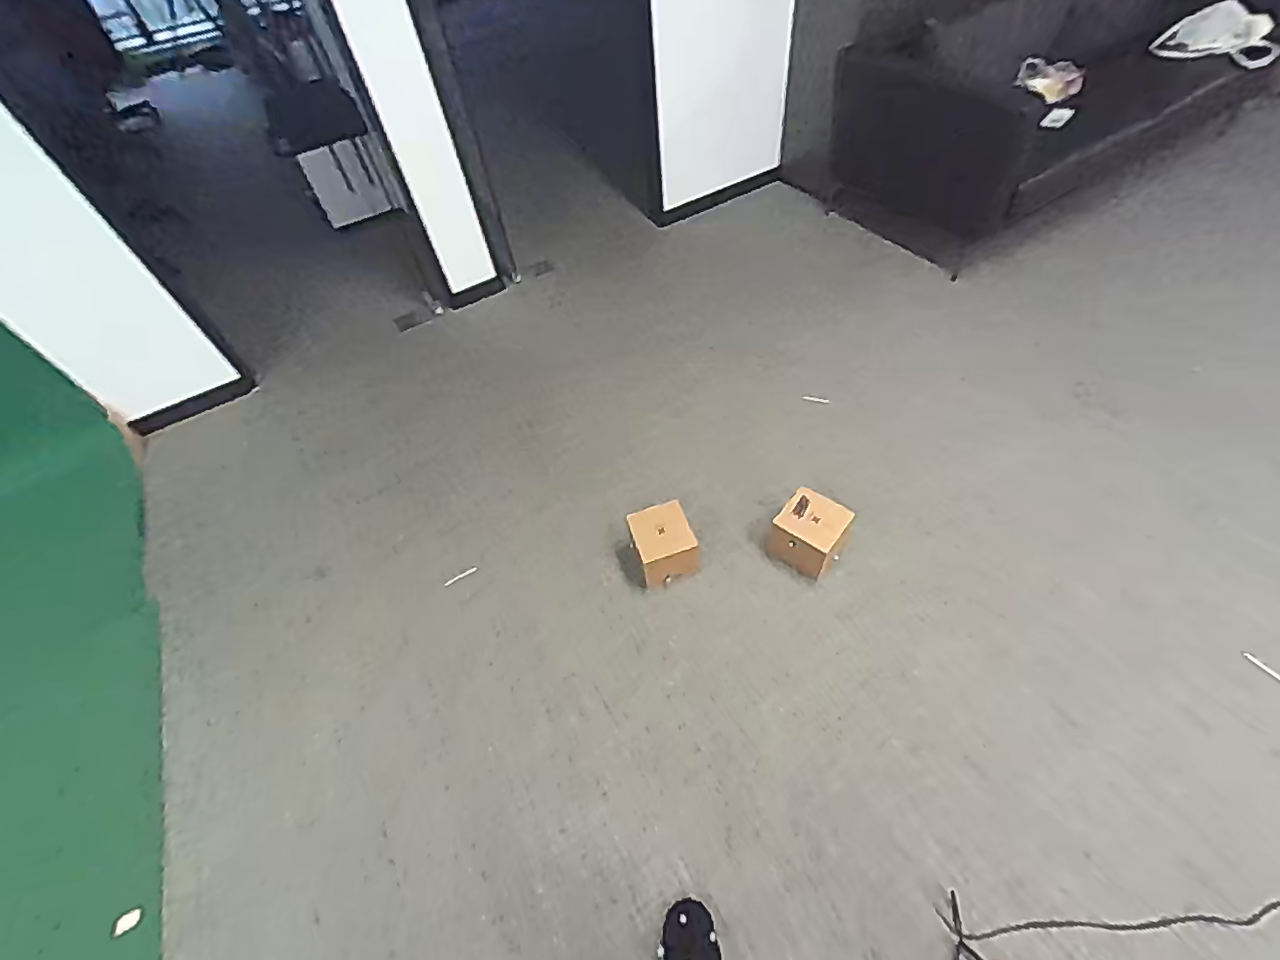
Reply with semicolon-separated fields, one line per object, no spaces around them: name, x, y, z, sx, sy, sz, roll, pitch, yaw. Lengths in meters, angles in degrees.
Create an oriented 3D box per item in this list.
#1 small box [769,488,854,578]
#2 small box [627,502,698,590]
small box;0.500;0.161;1.600;0.179;0.176;0.168;31;62;27
small box;0.068;0.200;1.624;0.168;0.176;0.179;-18;51;-6
